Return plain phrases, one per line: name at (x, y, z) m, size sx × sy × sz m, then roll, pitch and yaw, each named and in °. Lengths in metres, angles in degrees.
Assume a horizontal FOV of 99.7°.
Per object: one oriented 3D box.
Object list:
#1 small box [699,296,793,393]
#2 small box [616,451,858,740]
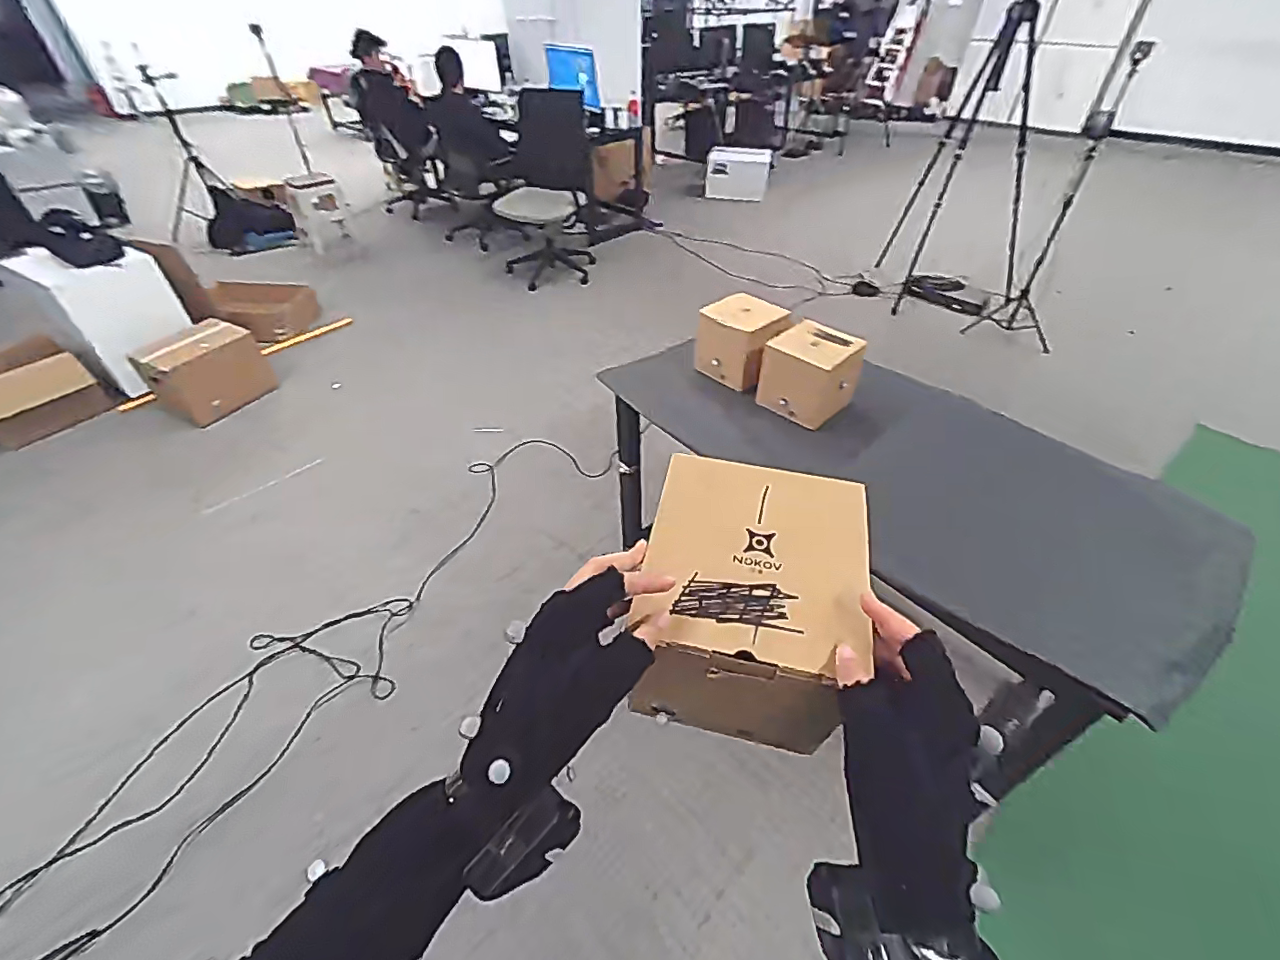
small box at (0.269, -0.355, 1.419) m, size 0.179 × 0.176 × 0.168 m, roll -31°, pitch 50°, yaw -30°
small box at (0.083, 0.104, 0.474) m, size 0.168 × 0.176 × 0.179 m, roll 10°, pitch 50°, yaw 9°
